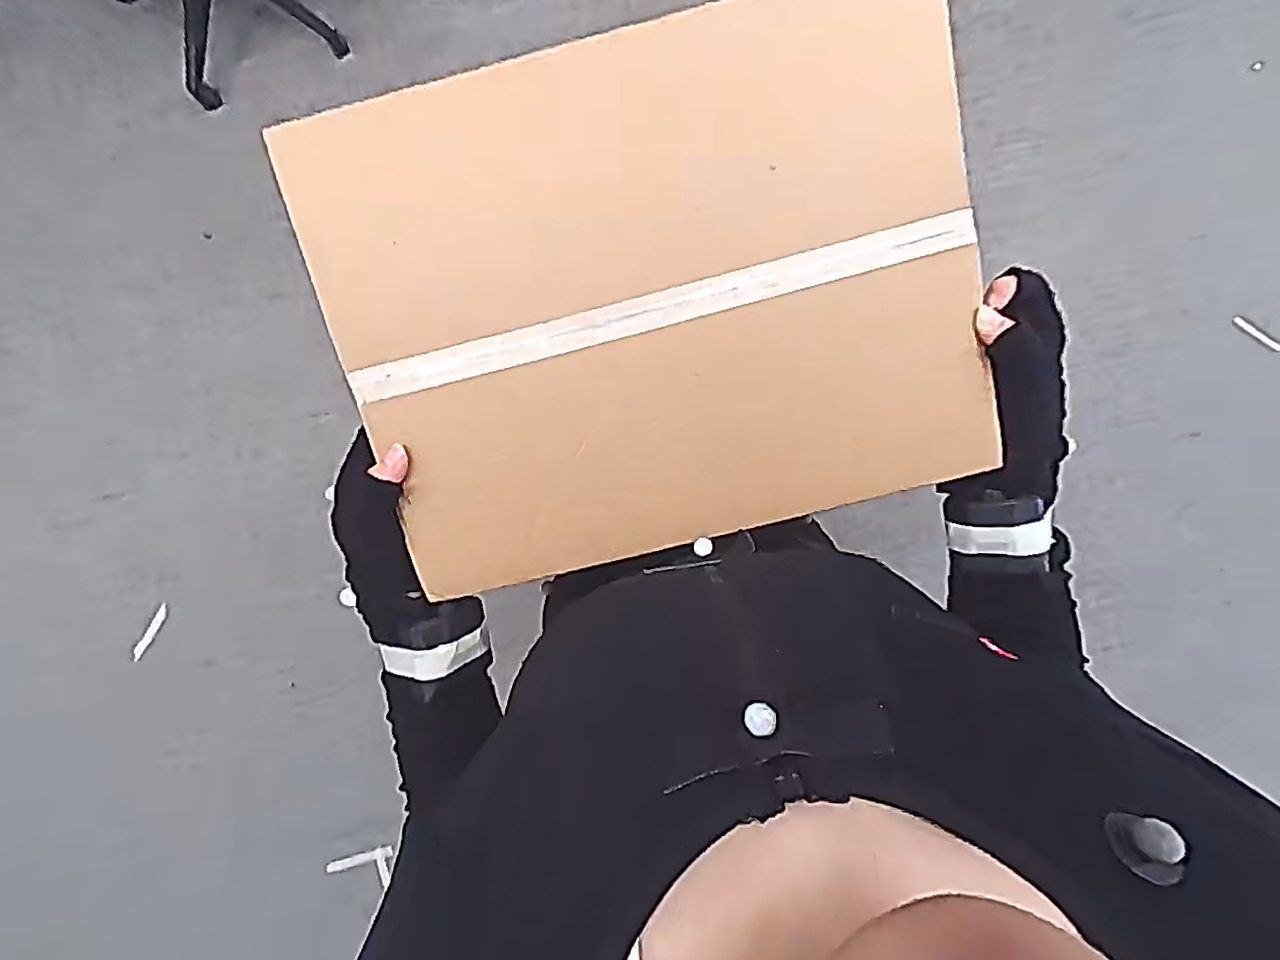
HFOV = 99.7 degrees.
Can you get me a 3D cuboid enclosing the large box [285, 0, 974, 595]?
[{"bbox_3d":[0.006,-0.140,0.502,0.408,0.320,0.320,-14,101,3],"label":"large box"}]
